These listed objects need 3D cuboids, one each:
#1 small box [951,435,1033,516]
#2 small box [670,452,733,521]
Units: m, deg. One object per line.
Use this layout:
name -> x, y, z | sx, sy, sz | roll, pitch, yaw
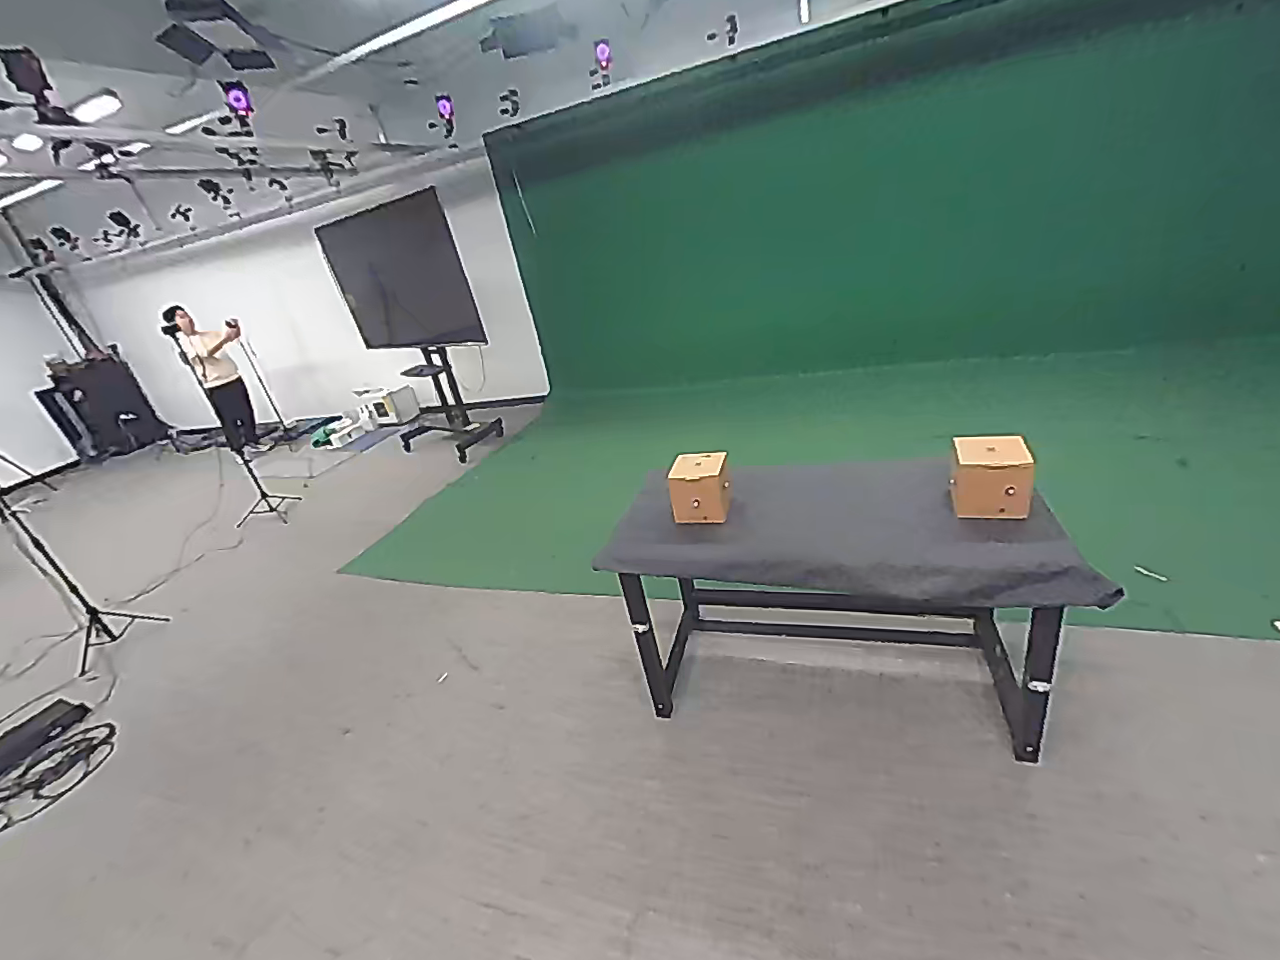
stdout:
small box -> 0.965, -0.011, 1.496 | 0.168, 0.176, 0.179 | 0, 27, 23
small box -> 0.208, 0.025, 1.774 | 0.168, 0.176, 0.179 | -2, 28, 19
